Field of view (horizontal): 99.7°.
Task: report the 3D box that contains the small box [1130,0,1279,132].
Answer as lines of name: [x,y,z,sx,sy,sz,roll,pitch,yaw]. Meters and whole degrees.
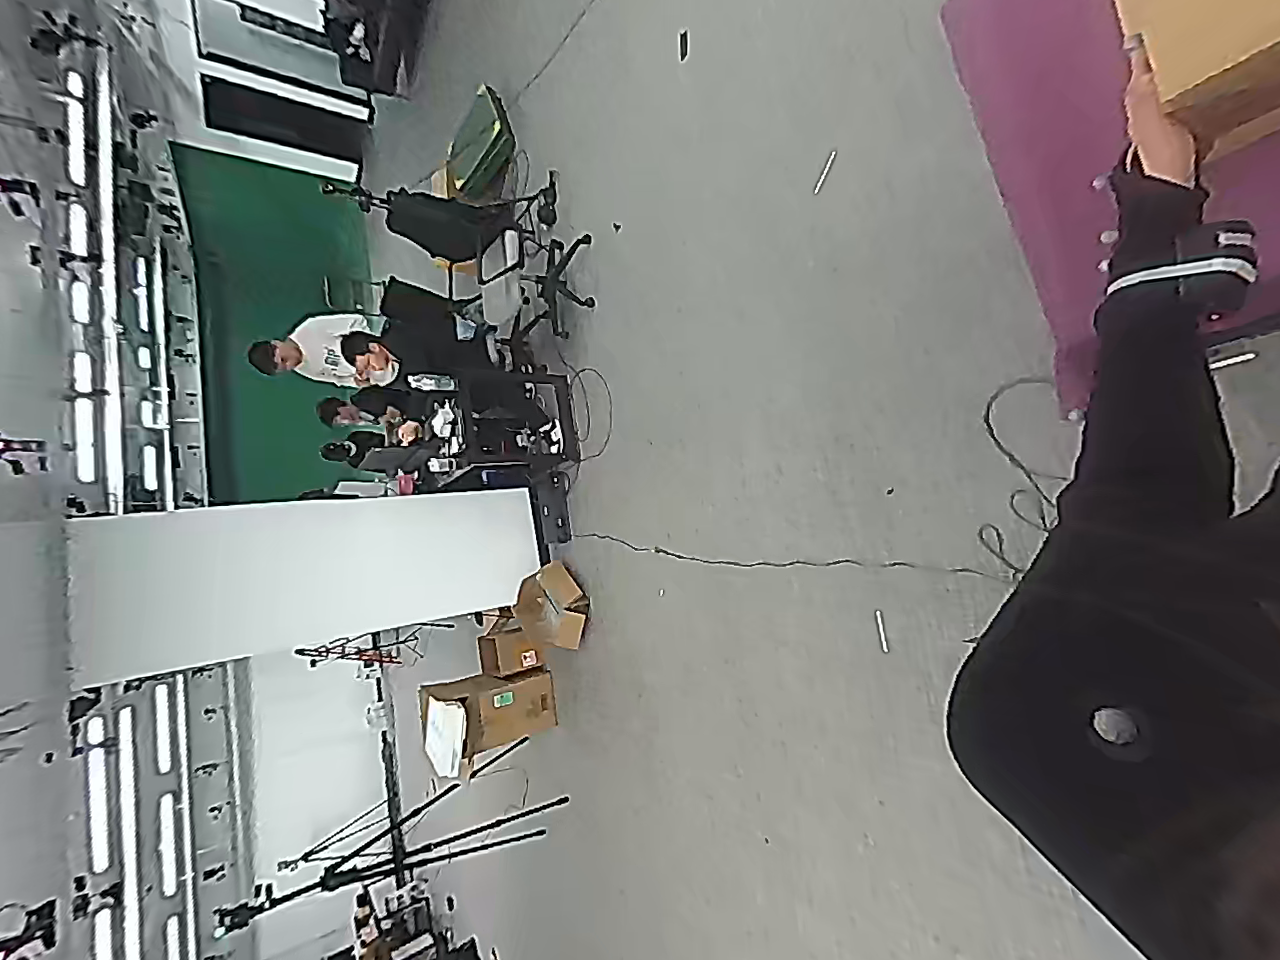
small box: [0.483,-0.395,0.392,0.179,0.176,0.168,-16,89,50]
